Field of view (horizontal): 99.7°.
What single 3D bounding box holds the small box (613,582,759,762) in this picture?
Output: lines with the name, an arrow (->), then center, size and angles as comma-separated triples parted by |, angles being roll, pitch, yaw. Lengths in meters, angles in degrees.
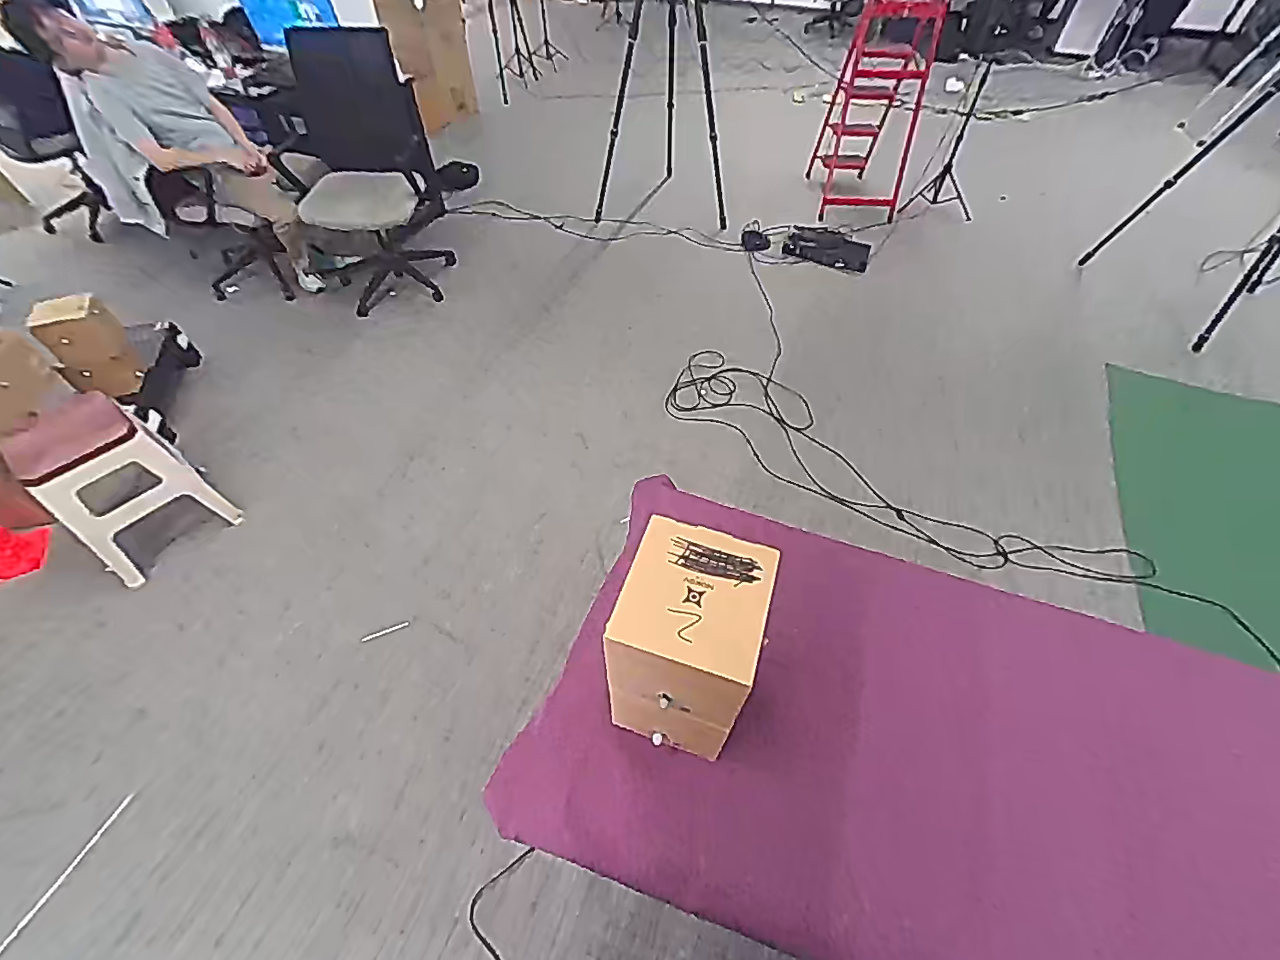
small box -> 0.066, 0.286, 0.804 | 0.168, 0.176, 0.179 | 16, 52, 12
